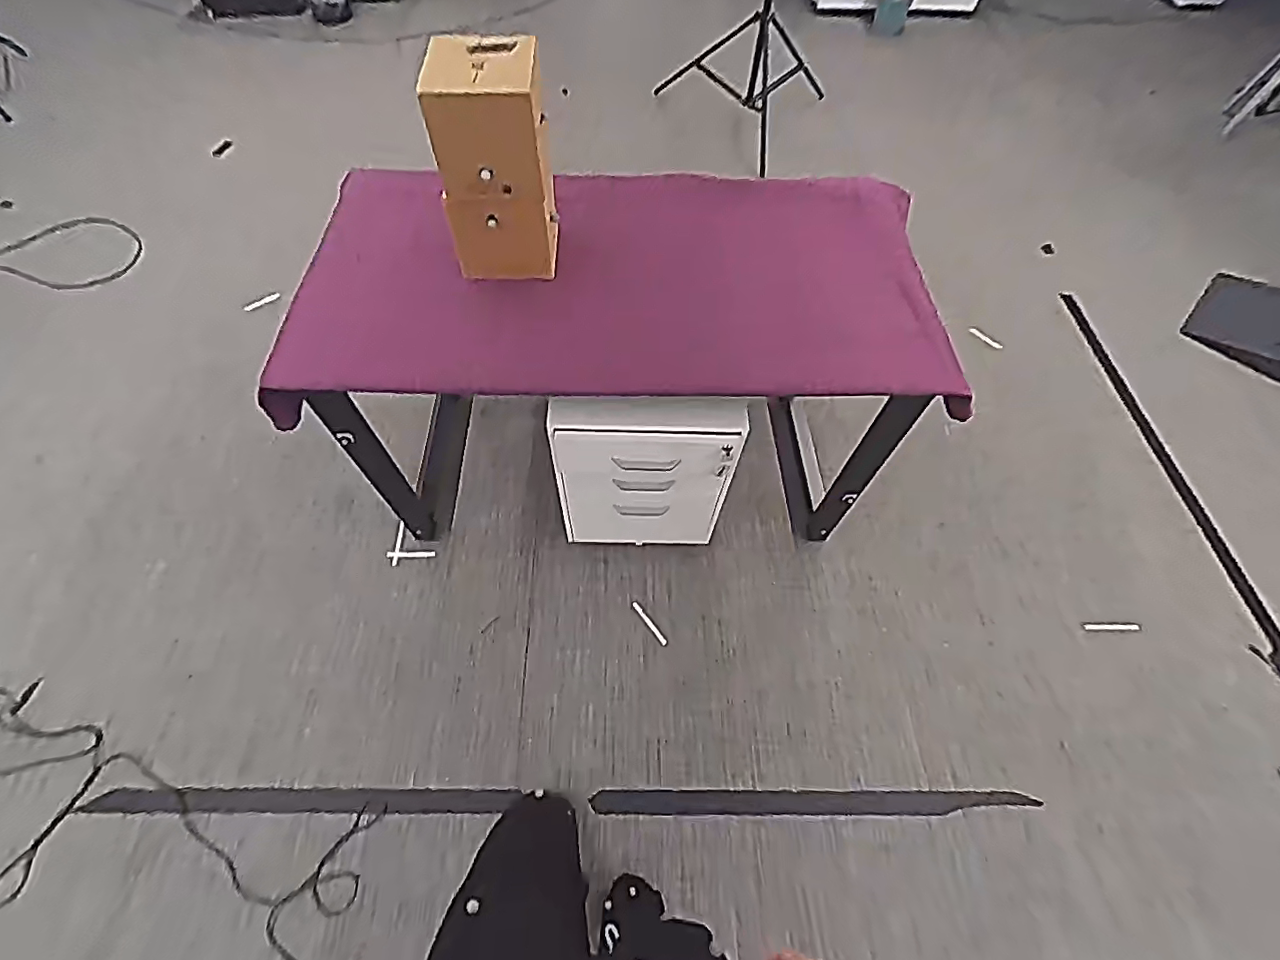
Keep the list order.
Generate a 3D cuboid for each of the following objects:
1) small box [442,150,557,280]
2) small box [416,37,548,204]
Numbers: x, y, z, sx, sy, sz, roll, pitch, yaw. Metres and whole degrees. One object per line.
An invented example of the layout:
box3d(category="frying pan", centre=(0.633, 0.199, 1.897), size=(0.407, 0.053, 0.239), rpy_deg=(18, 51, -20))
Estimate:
box3d(category="small box", centre=(-0.253, -0.500, 1.024), size=(0.179, 0.176, 0.168), rpy_deg=(0, 60, -2))
box3d(category="small box", centre=(-0.243, -0.581, 0.881), size=(0.168, 0.176, 0.179), rpy_deg=(-2, 61, -2))
